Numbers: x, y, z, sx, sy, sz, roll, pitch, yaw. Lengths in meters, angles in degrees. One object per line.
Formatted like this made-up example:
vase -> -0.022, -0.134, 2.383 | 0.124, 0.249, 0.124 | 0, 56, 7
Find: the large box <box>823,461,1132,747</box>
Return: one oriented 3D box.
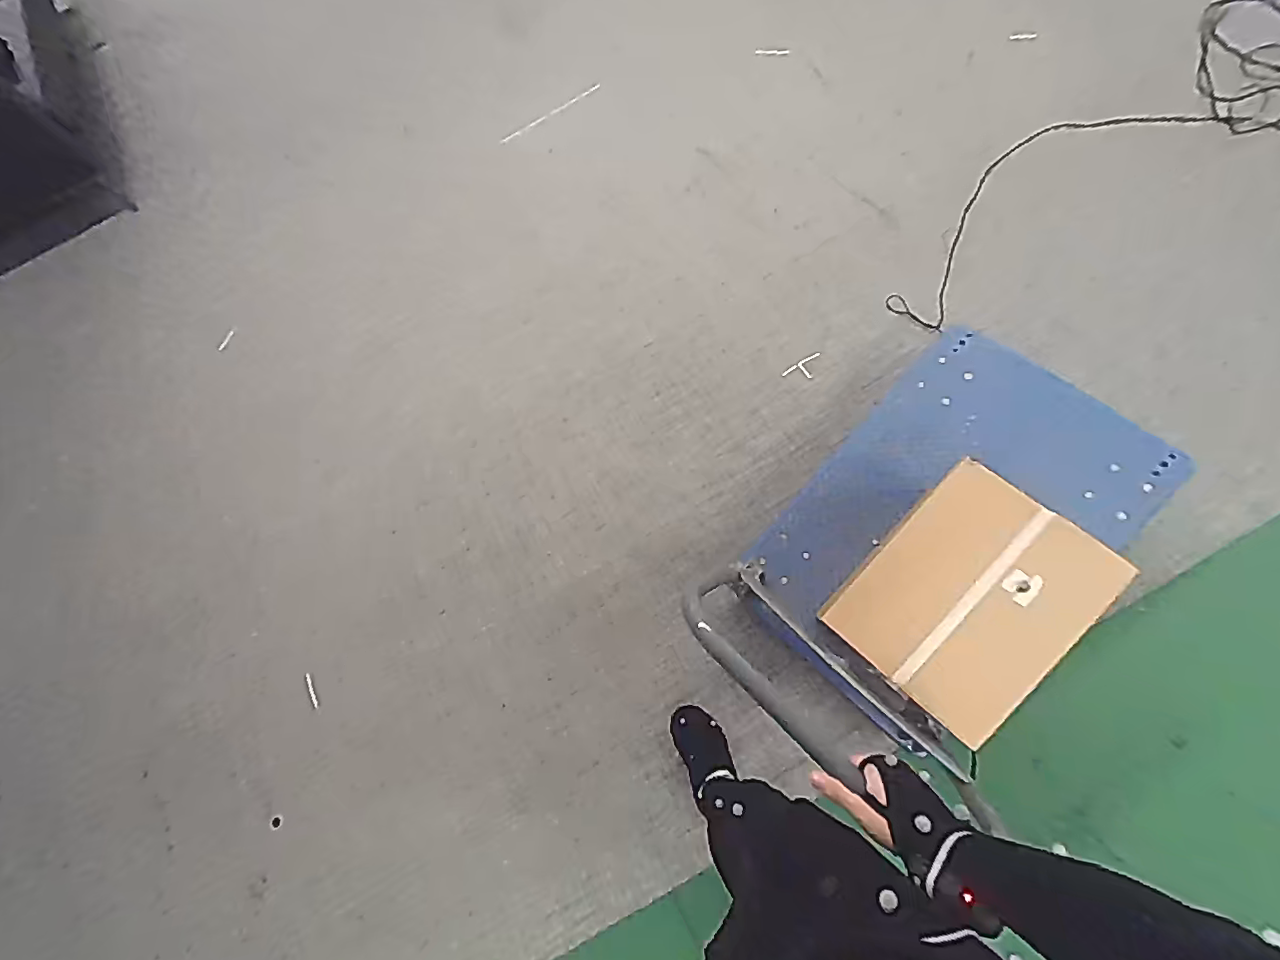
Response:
large box -> 0.622, 0.240, 1.088 | 0.320, 0.320, 0.408 | 42, 91, 20
